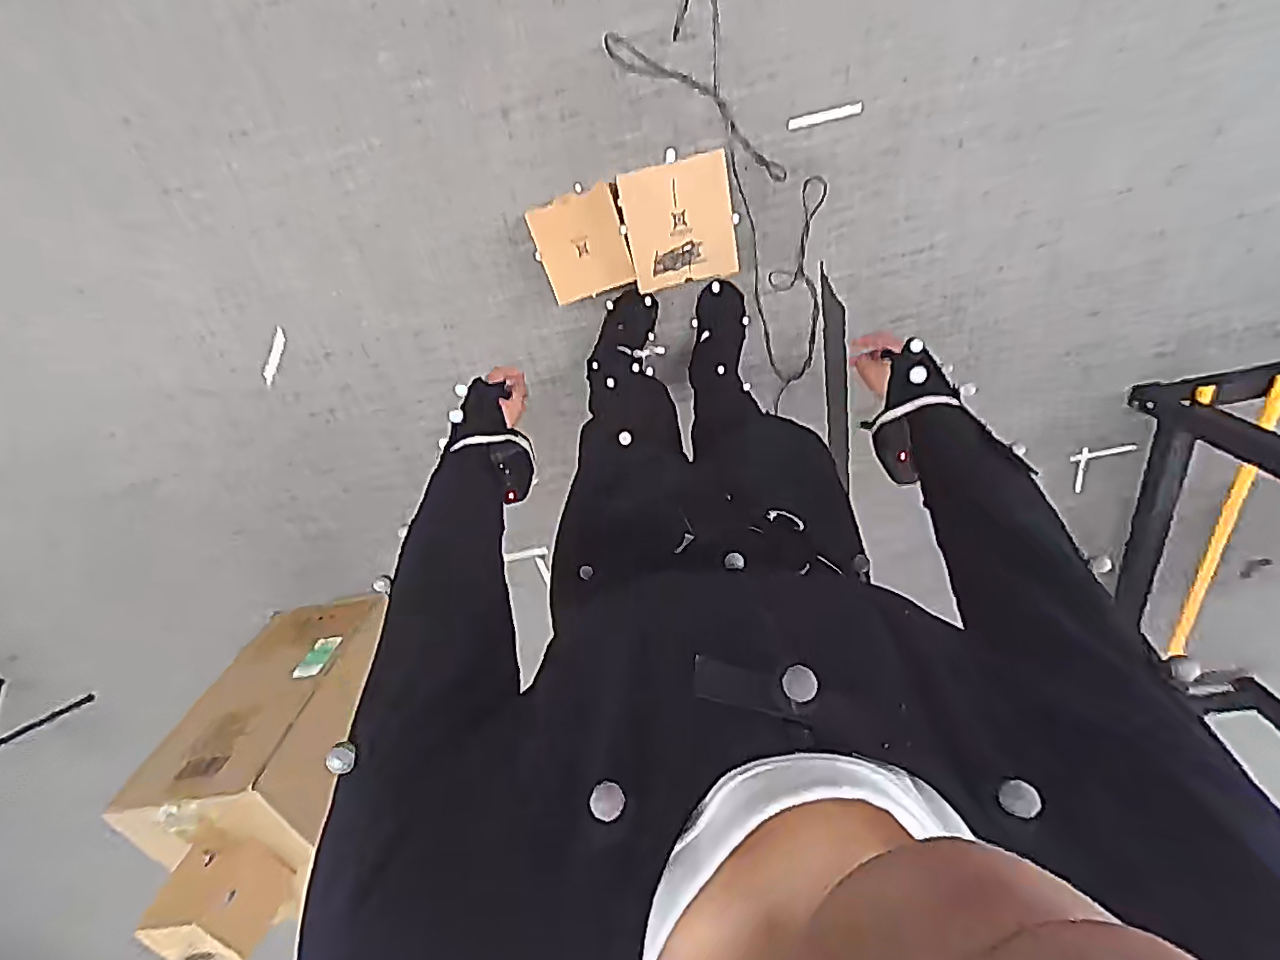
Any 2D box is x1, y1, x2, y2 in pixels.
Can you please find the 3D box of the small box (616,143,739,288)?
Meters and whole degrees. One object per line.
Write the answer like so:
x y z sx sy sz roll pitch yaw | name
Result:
0.064 -0.436 0.889 0.168 0.176 0.179 -10 119 7 | small box
